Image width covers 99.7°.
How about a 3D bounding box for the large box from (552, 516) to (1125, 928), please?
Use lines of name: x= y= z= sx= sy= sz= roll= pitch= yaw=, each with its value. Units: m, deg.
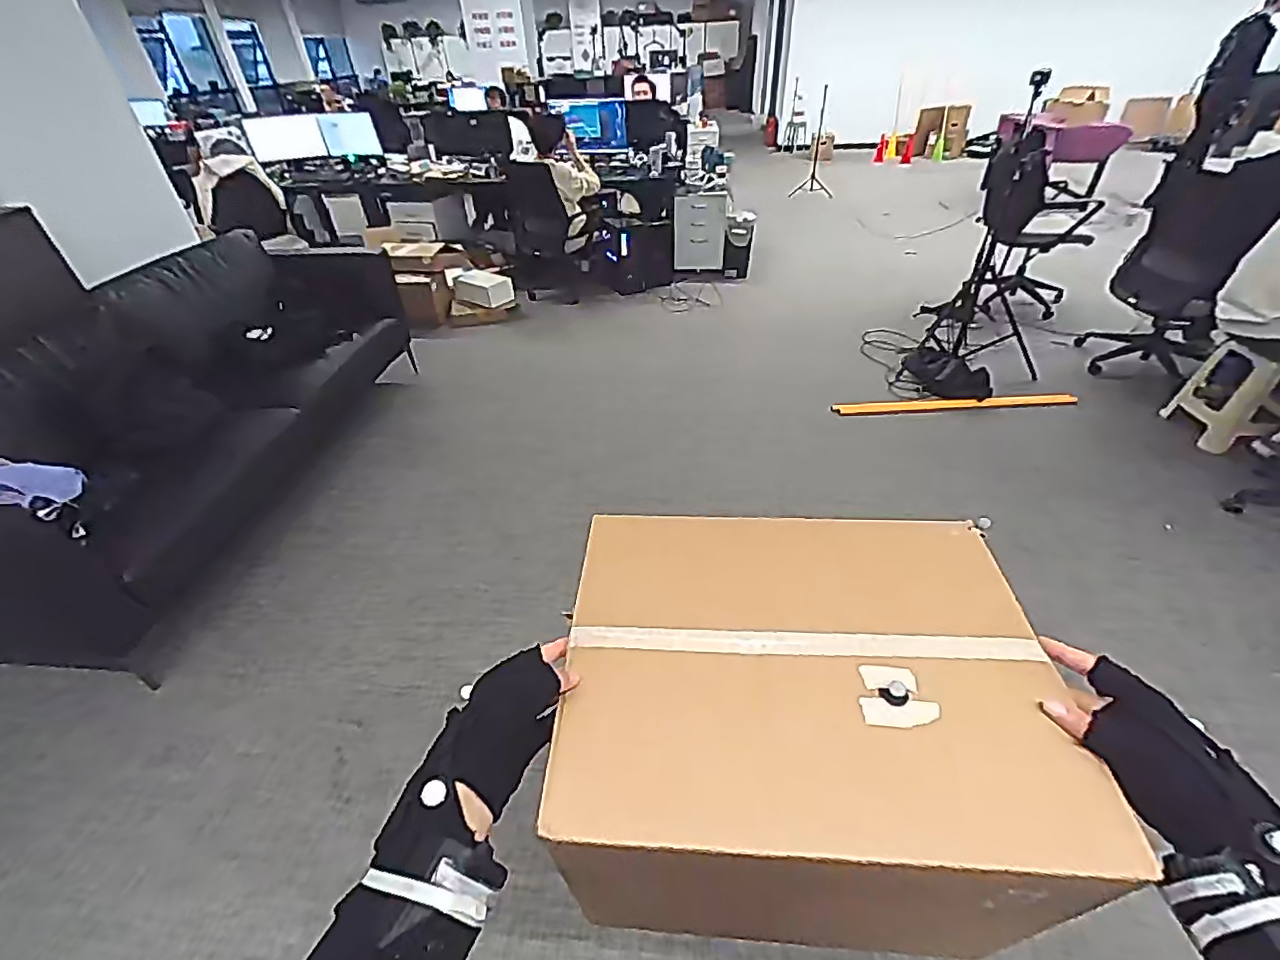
large box: x=0.146 y=0.253 z=0.585 sx=0.408 sy=0.320 sz=0.320 roll=0 pitch=43 yaw=5
